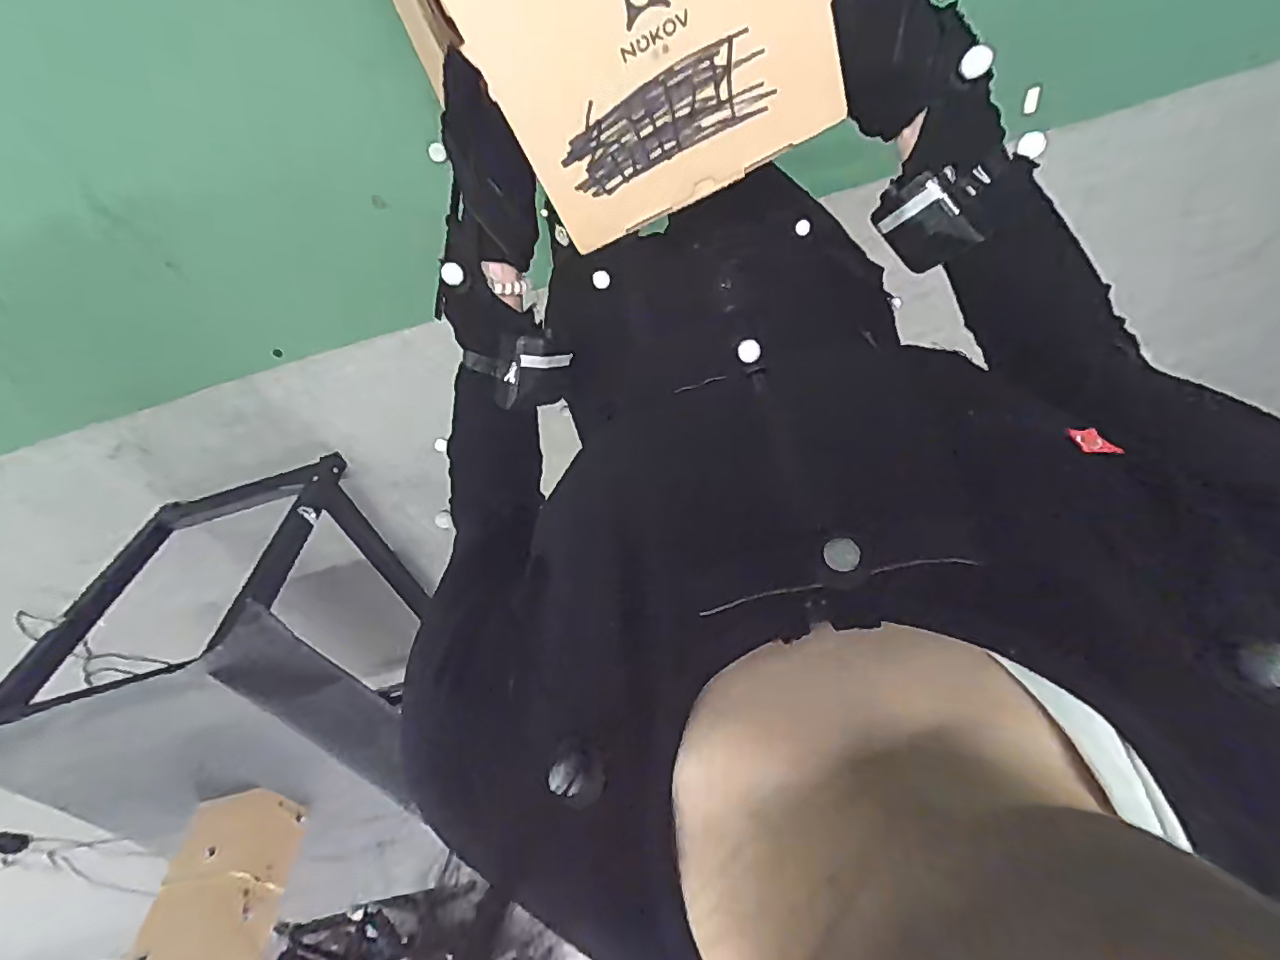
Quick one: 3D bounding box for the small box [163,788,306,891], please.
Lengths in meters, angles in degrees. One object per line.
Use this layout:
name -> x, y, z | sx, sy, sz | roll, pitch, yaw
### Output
small box -> -0.899, 0.825, 1.227 | 0.179, 0.176, 0.168 | -16, 128, 6

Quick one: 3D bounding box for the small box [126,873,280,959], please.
small box -> -0.893, 0.939, 1.107 | 0.179, 0.176, 0.168 | -18, 128, 6
